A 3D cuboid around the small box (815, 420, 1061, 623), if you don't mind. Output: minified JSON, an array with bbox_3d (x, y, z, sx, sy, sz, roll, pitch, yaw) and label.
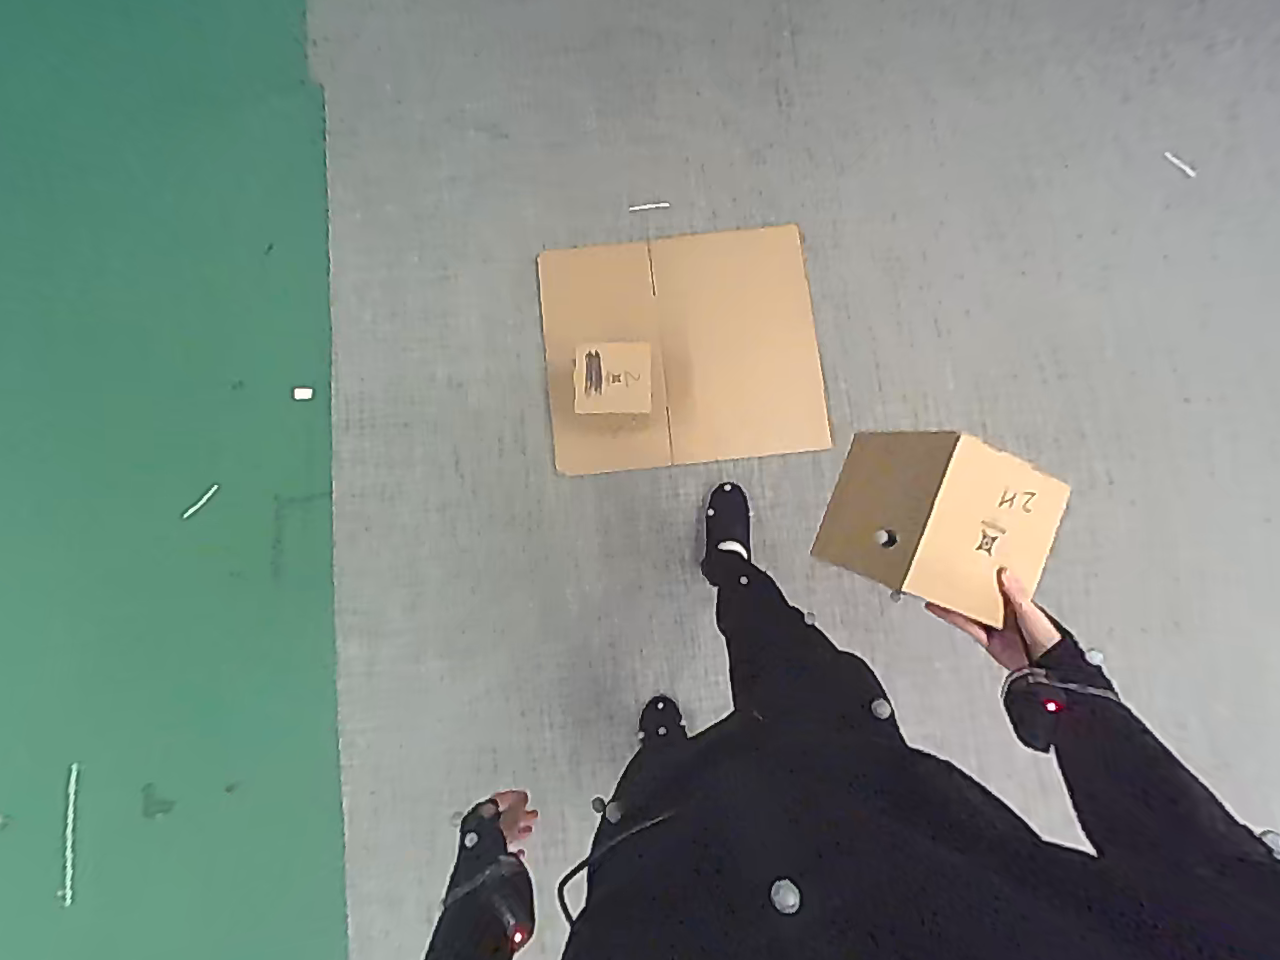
[{"bbox_3d":[0.339,0.043,0.647,0.168,0.176,0.179,22,87,-15],"label":"small box"}]
